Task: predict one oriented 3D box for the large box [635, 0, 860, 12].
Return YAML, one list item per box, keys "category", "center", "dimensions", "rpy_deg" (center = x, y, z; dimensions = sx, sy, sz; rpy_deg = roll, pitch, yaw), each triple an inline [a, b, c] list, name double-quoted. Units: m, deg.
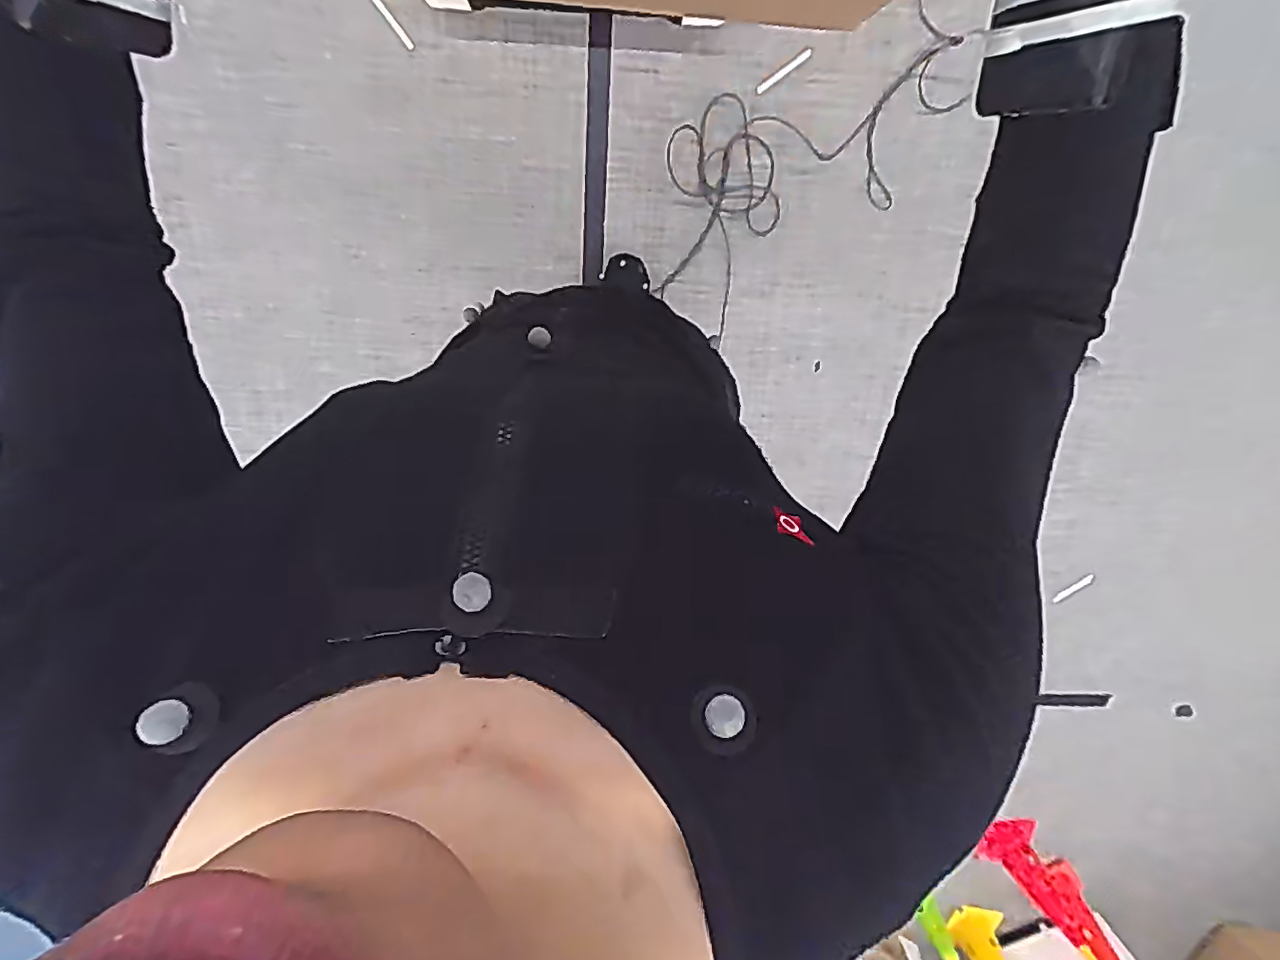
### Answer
- category: "large box"
  center: [-0.002, -0.483, 0.269]
  dimensions: [0.408, 0.320, 0.320]
  rpy_deg: [2, 118, -3]
